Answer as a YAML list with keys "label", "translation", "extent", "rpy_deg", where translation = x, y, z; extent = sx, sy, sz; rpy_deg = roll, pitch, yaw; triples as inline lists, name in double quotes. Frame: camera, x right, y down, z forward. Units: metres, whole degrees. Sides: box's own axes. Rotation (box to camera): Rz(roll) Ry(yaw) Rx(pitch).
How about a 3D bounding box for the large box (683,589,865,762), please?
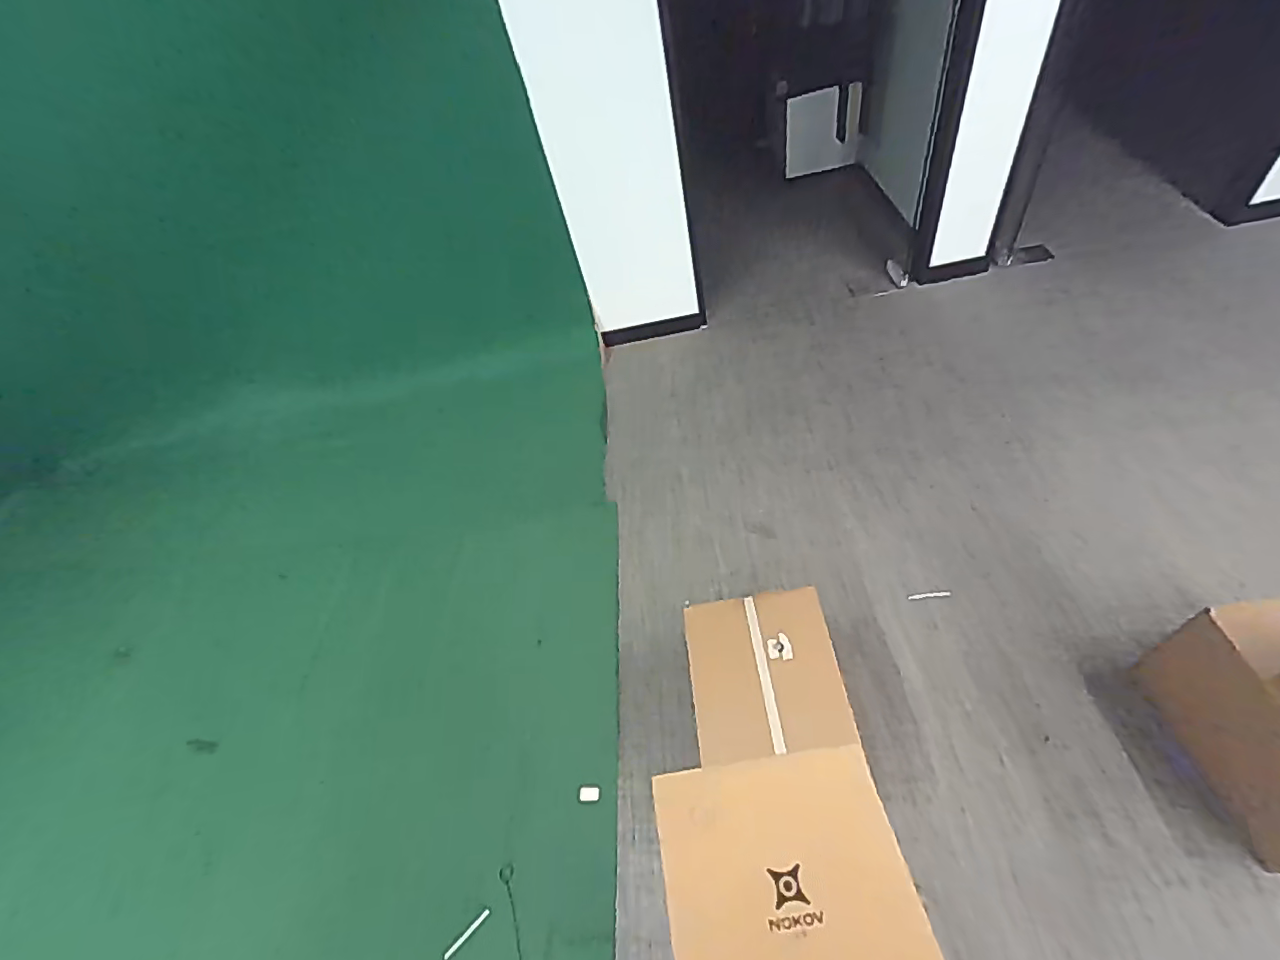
- label: "large box"
  translation: [0.298, 0.524, 1.250]
  extent: [0.320, 0.320, 0.408]
  rpy_deg: [-10, 48, 7]

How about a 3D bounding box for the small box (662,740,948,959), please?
- label: "small box"
  translation: [0.112, 0.335, 0.421]
  extent: [0.168, 0.176, 0.179]
  rpy_deg: [-9, 43, -1]
